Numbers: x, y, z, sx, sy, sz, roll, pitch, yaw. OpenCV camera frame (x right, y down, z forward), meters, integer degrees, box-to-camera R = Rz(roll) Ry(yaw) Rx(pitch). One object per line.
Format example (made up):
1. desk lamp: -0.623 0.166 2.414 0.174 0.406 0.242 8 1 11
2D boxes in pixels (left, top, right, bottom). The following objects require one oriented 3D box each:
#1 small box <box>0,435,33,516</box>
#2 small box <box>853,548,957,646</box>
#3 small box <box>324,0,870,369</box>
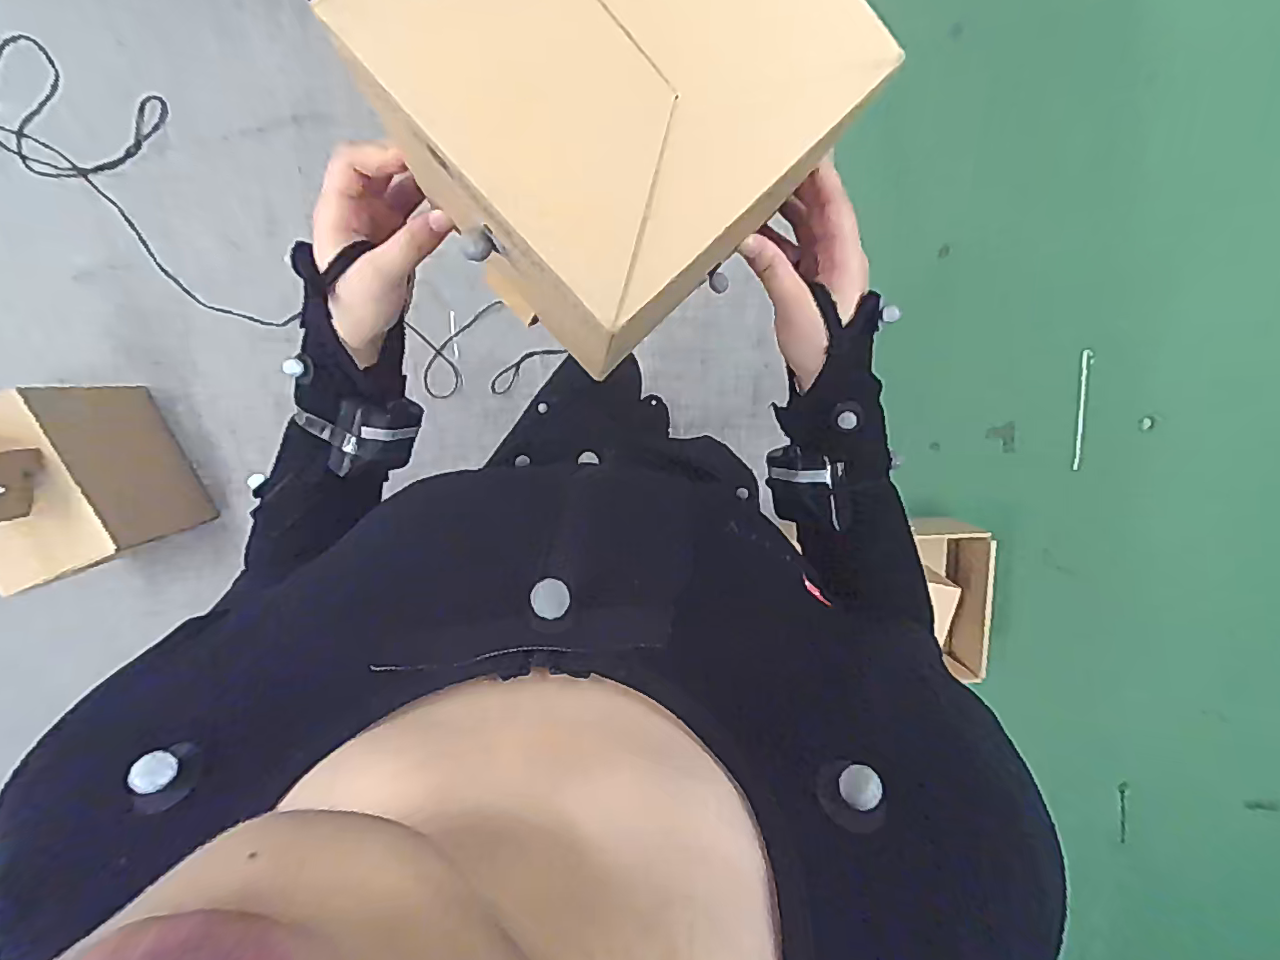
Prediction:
1. small box: -1.410 -0.013 1.098 0.179 0.176 0.168 17 100 -5
2. small box: 0.675 0.297 1.403 0.168 0.176 0.179 12 101 -1
3. small box: -0.018 -0.186 0.294 0.179 0.176 0.168 -44 97 -2
